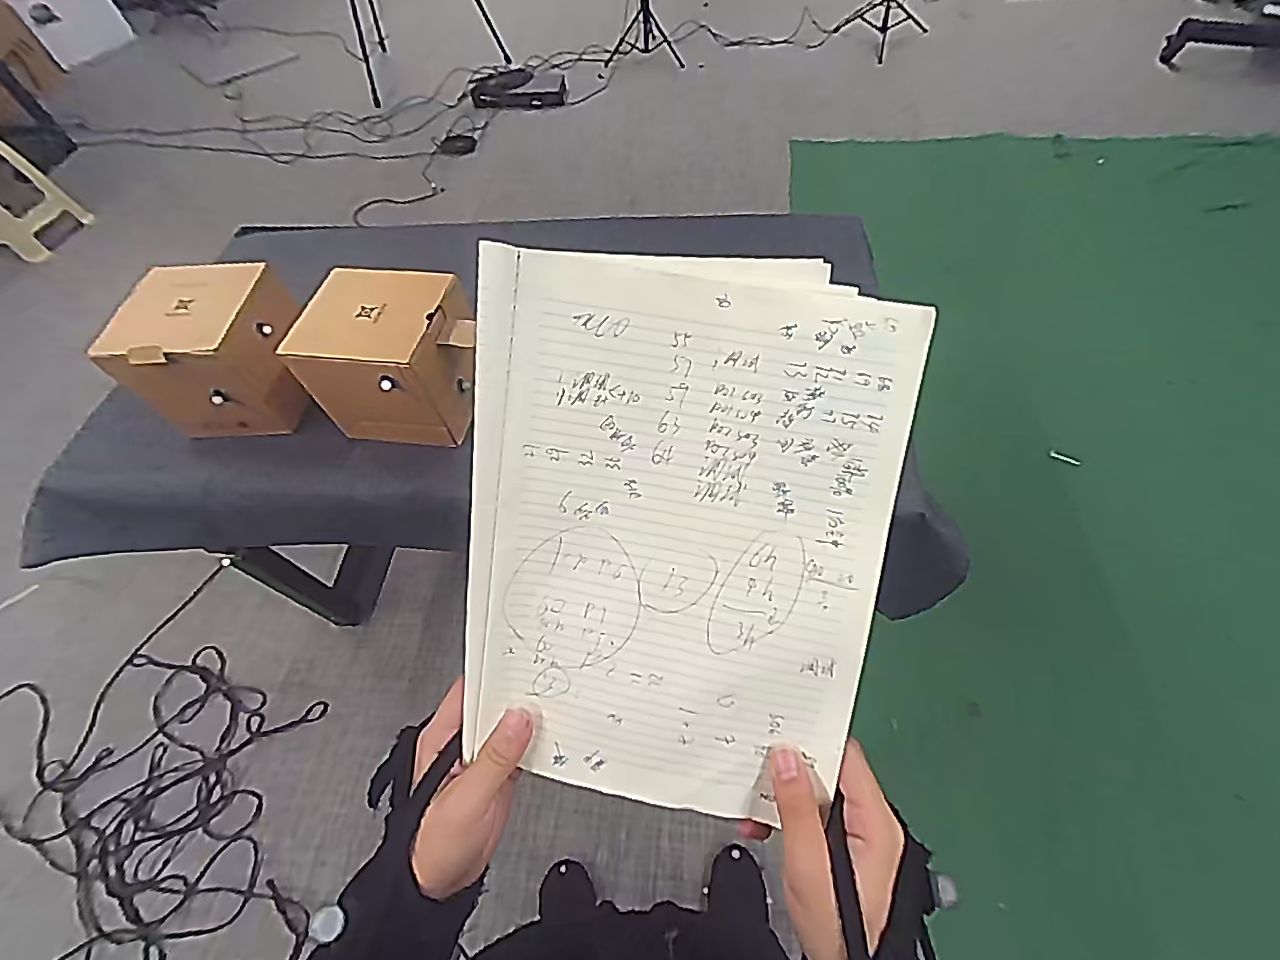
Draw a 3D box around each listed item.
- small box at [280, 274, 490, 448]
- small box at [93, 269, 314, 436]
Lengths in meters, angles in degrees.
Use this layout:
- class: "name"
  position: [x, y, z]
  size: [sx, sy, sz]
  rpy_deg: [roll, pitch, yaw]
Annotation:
- class: "small box"
  position: [-0.332, -0.159, 0.745]
  size: [0.179, 0.176, 0.168]
  rpy_deg: [5, 57, 7]
- class: "small box"
  position: [-0.589, -0.174, 0.773]
  size: [0.168, 0.176, 0.179]
  rpy_deg: [-2, 56, 2]
